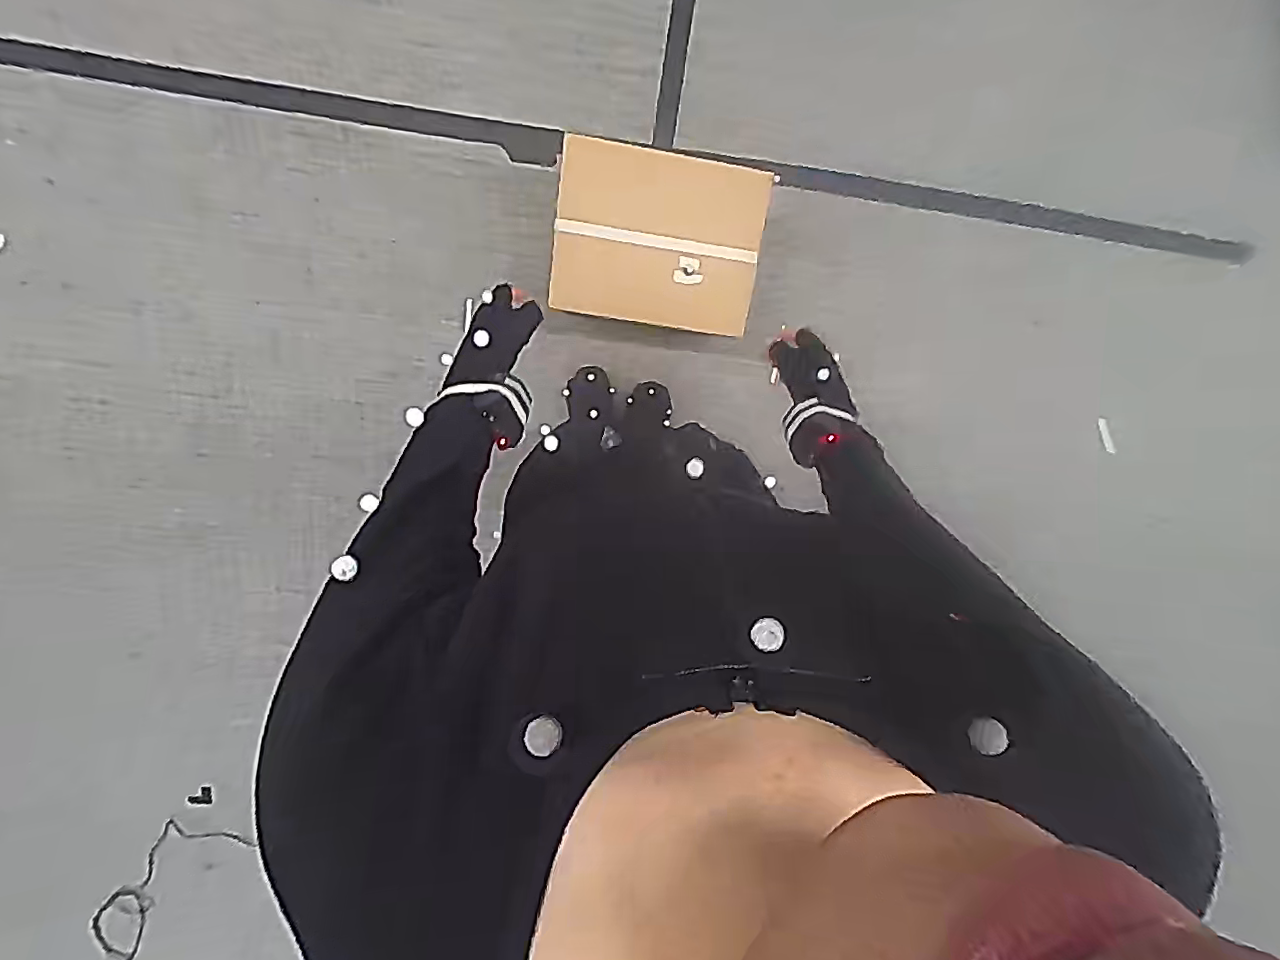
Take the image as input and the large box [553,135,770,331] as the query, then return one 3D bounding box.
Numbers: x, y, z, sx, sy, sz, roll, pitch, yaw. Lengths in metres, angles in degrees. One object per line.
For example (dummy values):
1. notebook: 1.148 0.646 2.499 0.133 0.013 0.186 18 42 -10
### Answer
1. large box: 0.024 -0.515 1.203 0.408 0.320 0.320 6 106 -8
